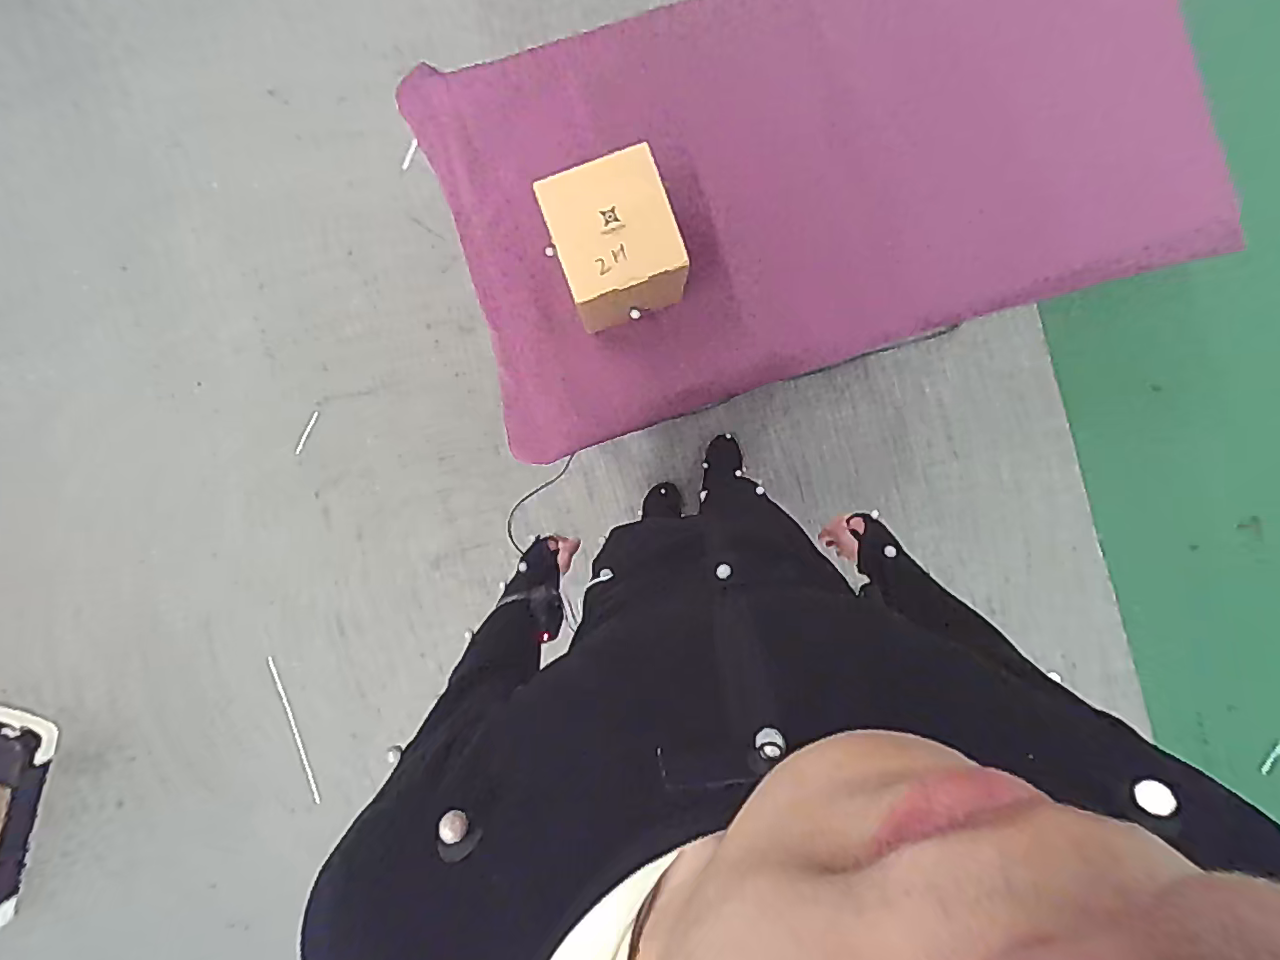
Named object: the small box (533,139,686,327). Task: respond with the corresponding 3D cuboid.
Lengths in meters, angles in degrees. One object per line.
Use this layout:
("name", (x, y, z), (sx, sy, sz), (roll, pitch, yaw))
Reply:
("small box", (-0.042, -0.352, 0.804), (0.168, 0.176, 0.179), (-20, 92, 1))
